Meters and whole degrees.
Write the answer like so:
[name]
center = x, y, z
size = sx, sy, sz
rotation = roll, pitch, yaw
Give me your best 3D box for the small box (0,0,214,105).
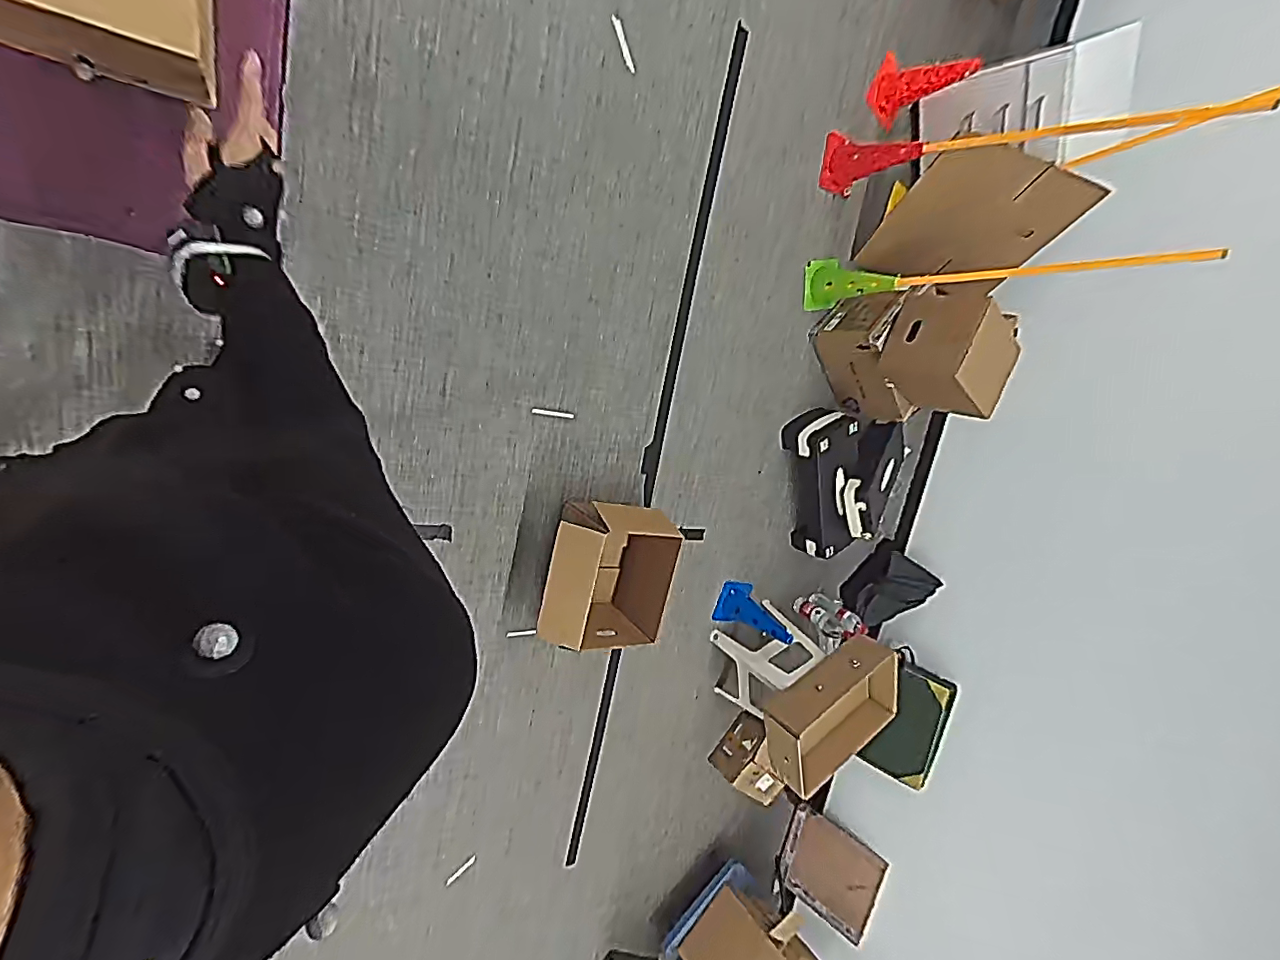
[small box]
center = -0.494, -0.482, 0.485
size = 0.168, 0.176, 0.179
rotation = -1, 106, -34
